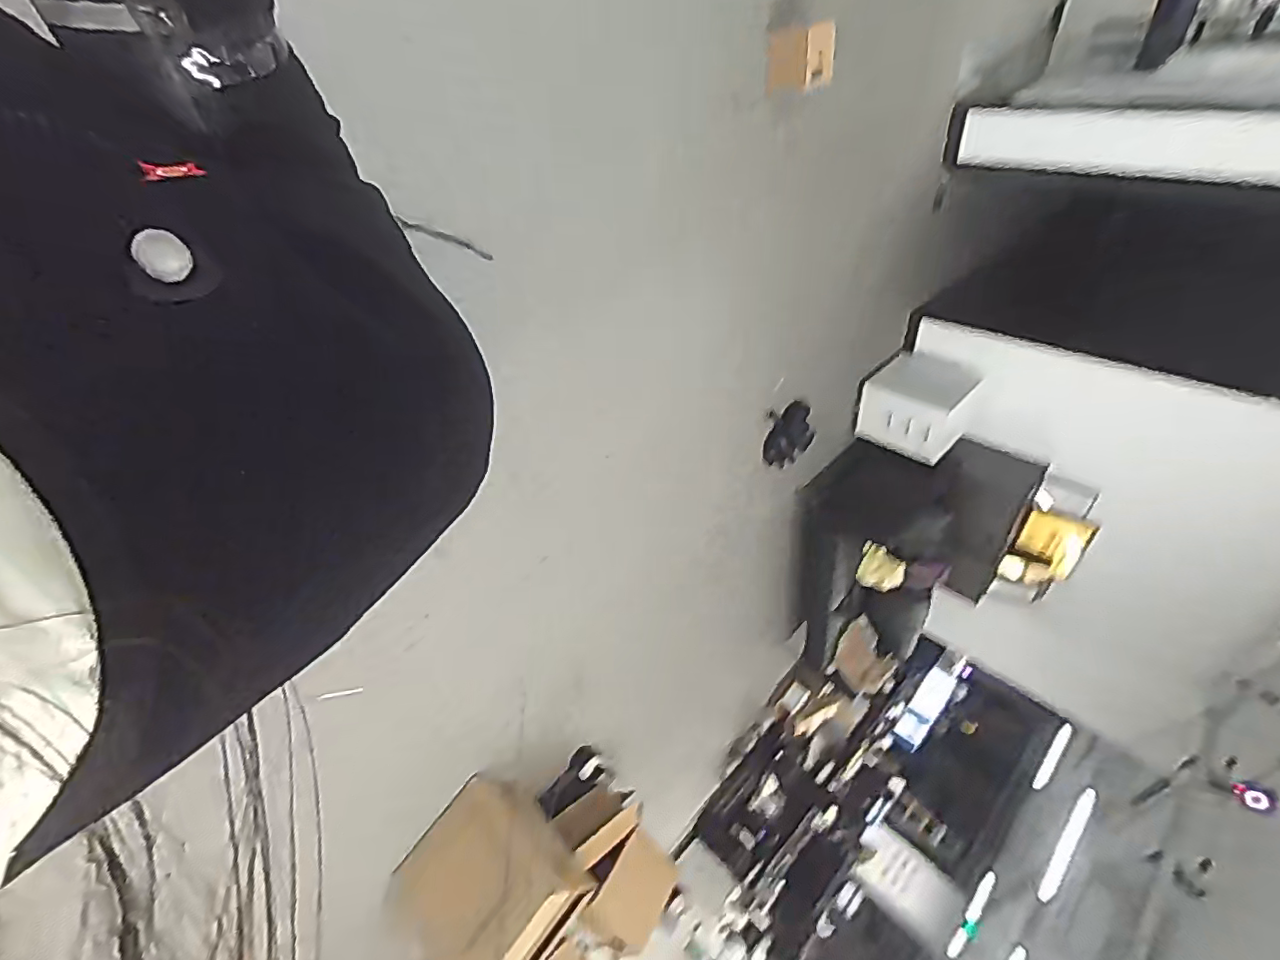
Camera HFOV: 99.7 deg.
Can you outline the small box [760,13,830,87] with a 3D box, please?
[{"bbox_3d":[0.531,-1.483,1.870,0.168,0.176,0.179,-38,137,-25],"label":"small box"}]
